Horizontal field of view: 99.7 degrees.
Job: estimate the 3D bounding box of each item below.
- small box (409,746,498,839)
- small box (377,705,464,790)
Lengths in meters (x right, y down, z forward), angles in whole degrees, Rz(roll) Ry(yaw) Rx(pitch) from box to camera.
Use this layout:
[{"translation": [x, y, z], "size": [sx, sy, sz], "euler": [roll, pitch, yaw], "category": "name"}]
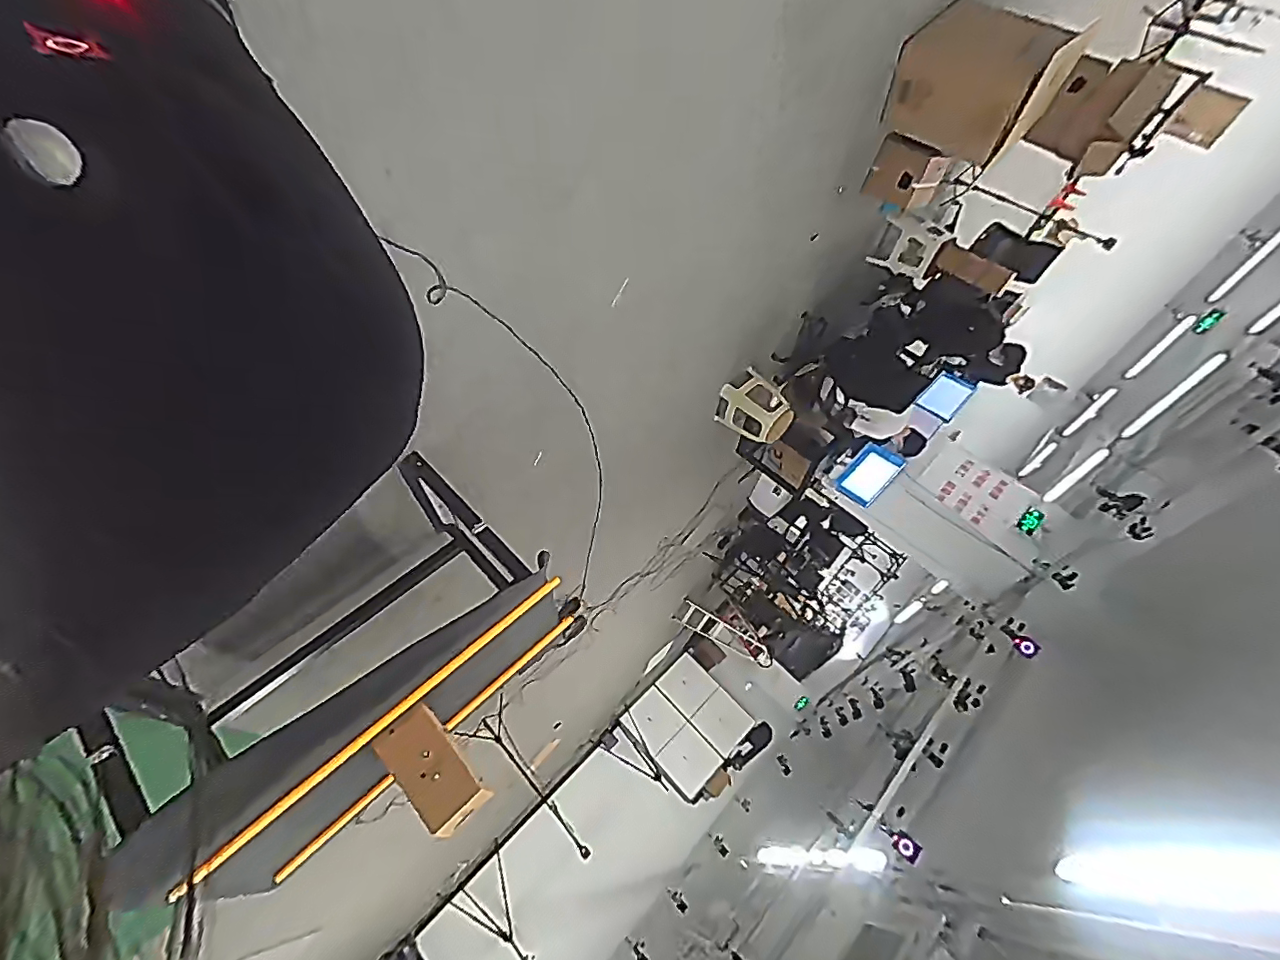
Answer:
[{"translation": [-0.546, 0.918, 1.594], "size": [0.168, 0.176, 0.179], "euler": [-39, 155, -25], "category": "small box"}, {"translation": [-0.665, 0.822, 1.655], "size": [0.168, 0.176, 0.179], "euler": [-40, 156, -25], "category": "small box"}]
